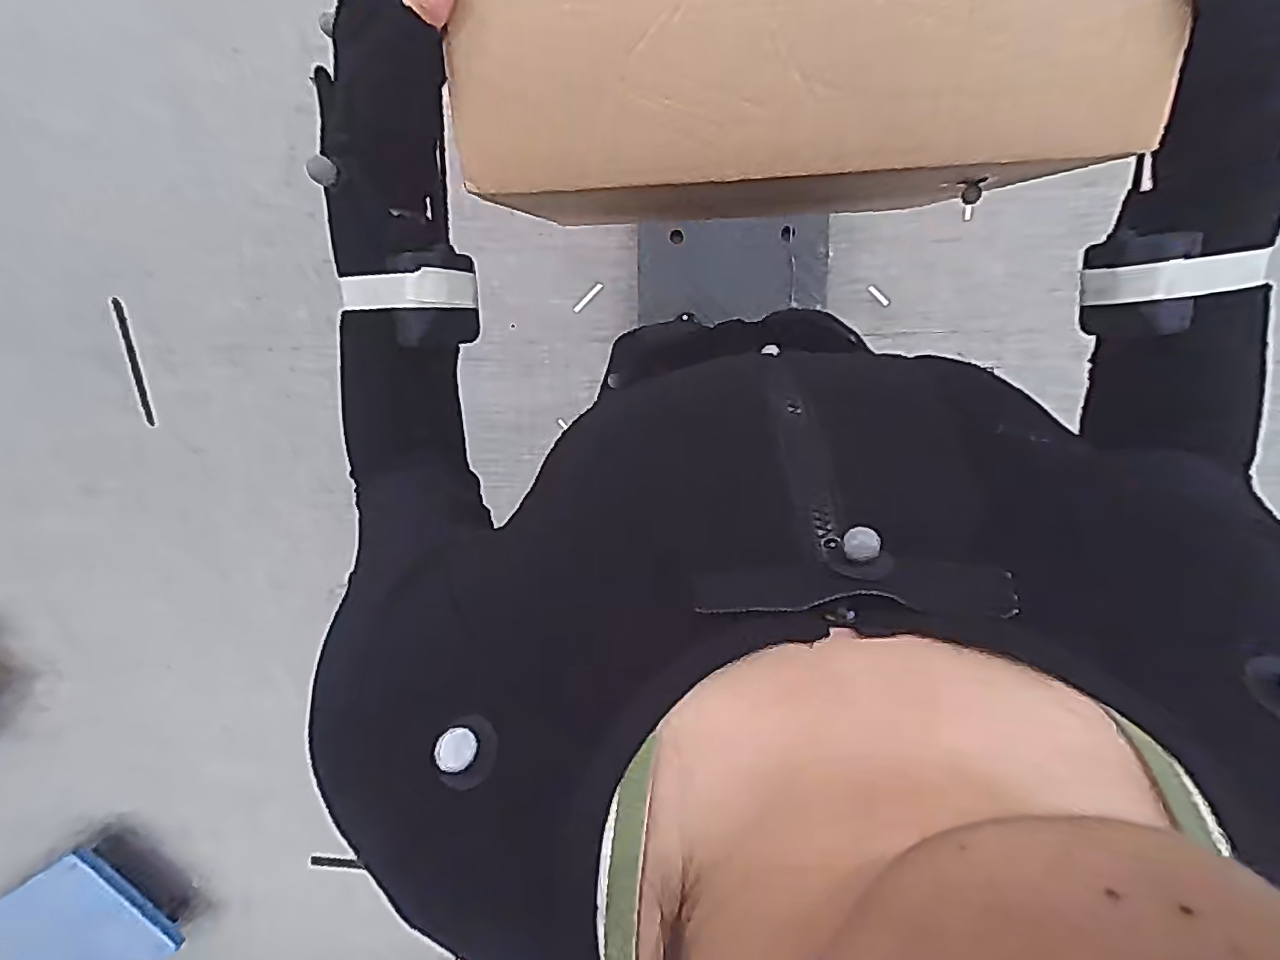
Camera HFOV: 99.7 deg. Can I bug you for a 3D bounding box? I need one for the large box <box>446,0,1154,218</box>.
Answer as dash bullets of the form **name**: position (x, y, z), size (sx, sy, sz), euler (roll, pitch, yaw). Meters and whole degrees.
- **large box**: position (0.091, -0.391, 0.417), size (0.408, 0.320, 0.320), euler (-1, 112, 4)
